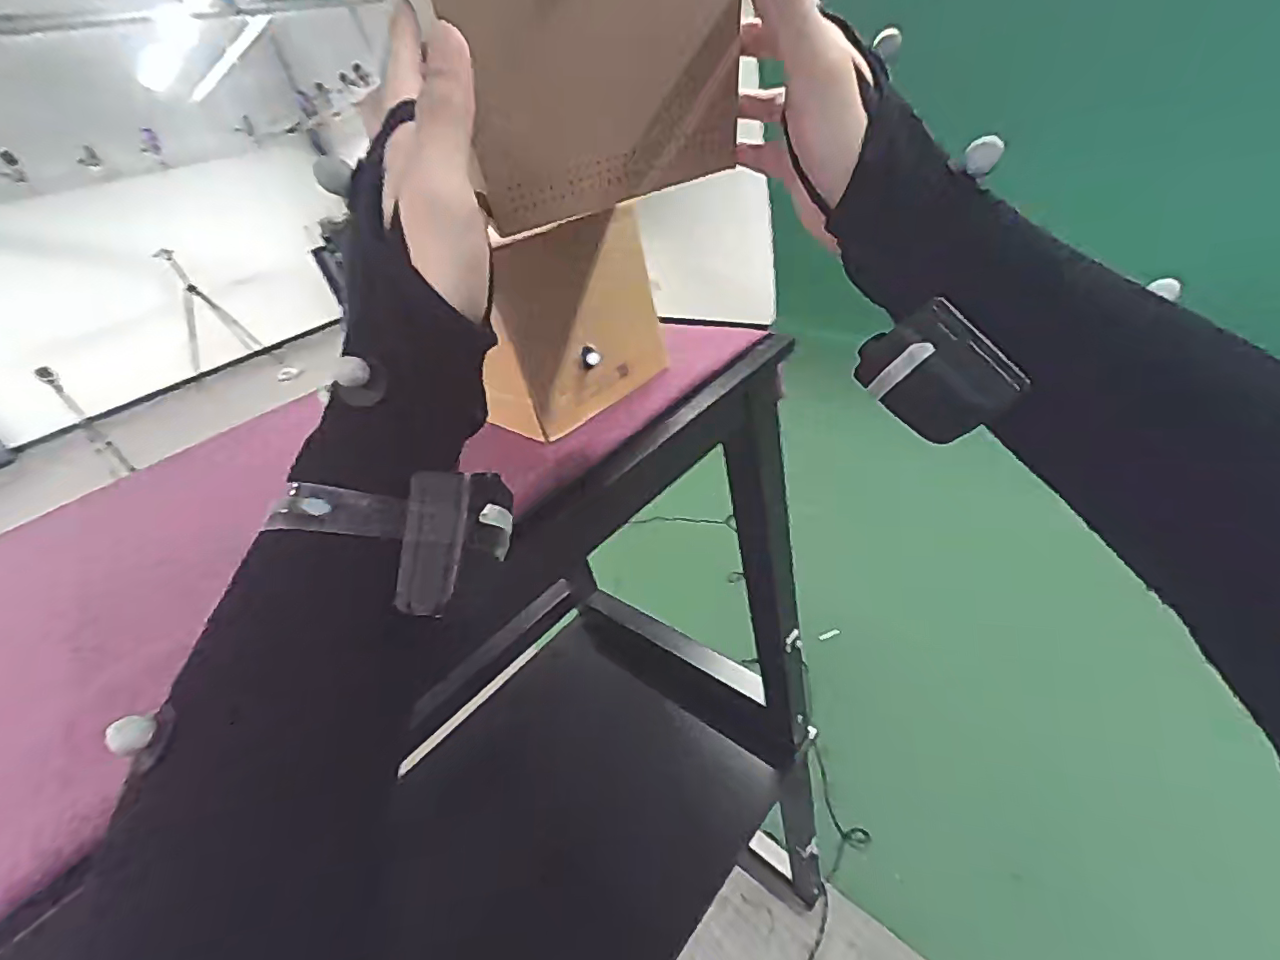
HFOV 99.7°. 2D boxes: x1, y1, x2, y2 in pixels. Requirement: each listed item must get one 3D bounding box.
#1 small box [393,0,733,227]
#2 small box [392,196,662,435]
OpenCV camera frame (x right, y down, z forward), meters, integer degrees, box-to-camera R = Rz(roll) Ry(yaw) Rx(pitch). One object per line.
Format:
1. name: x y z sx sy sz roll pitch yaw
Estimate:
1. small box: -0.051 -0.285 0.342 0.179 0.176 0.168 -24 50 -13
2. small box: -0.103 -0.163 0.536 0.179 0.176 0.168 21 49 41
